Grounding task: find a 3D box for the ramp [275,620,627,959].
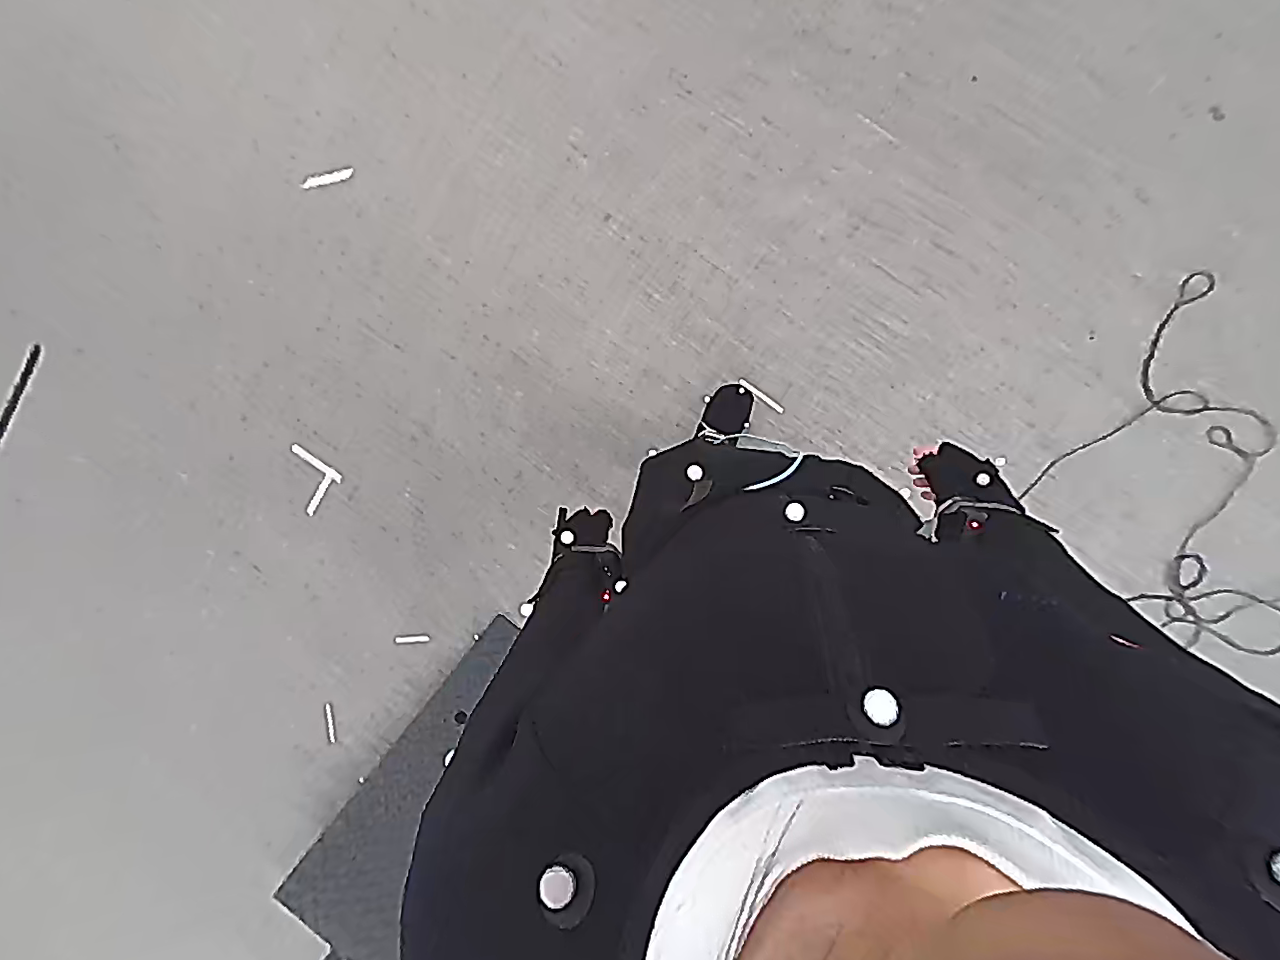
[{"bbox_3d":[-0.530,0.926,1.527,0.509,0.206,0.991,37,98,3],"label":"ramp"}]
